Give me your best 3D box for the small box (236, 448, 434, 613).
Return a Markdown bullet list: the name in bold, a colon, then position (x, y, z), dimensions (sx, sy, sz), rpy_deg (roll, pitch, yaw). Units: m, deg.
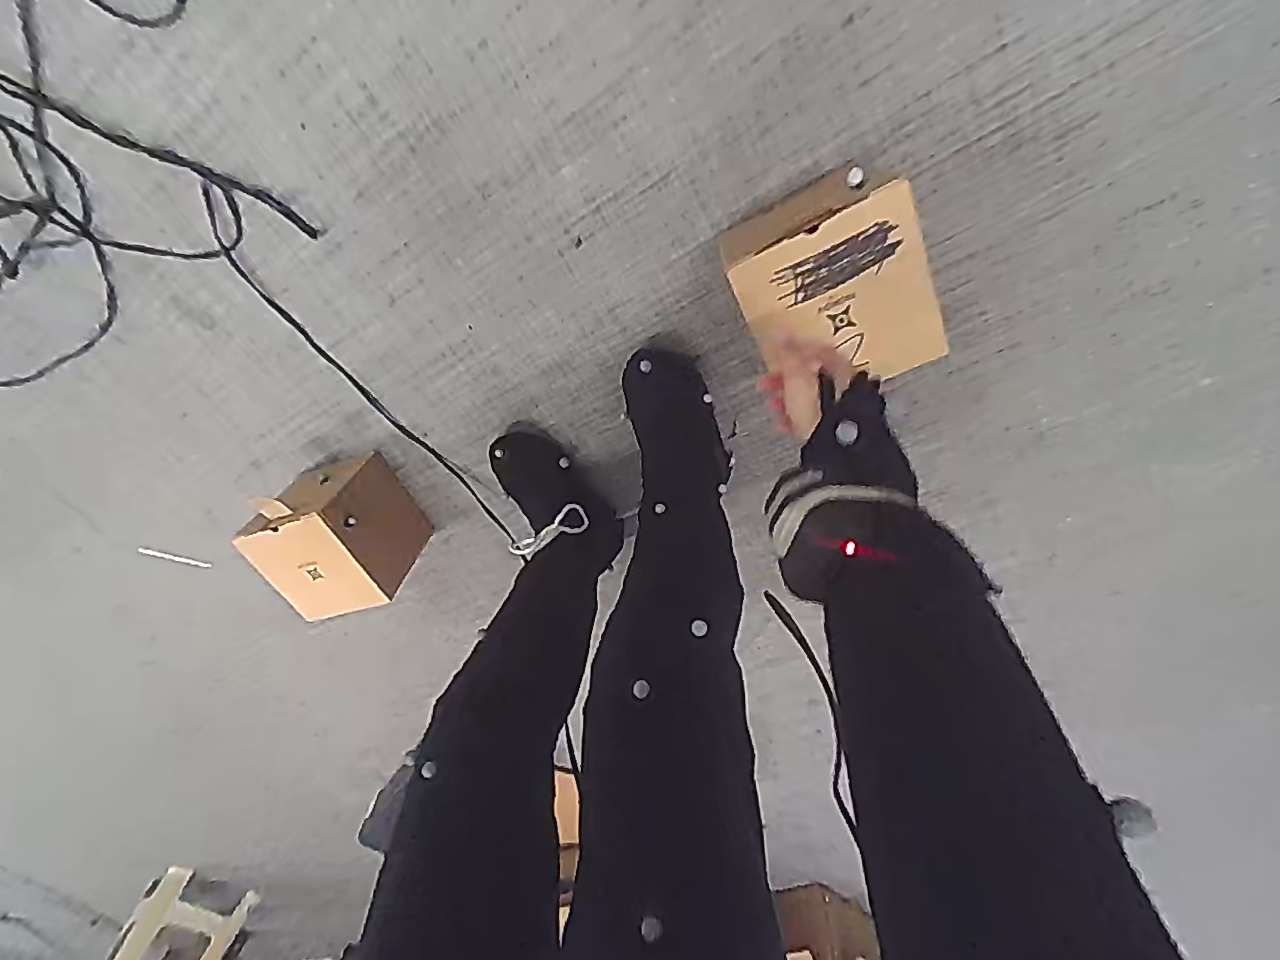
- **small box**: position (-0.460, 0.077, 0.849), dimensions (0.168, 0.176, 0.179), rpy_deg (-14, 120, 16)
